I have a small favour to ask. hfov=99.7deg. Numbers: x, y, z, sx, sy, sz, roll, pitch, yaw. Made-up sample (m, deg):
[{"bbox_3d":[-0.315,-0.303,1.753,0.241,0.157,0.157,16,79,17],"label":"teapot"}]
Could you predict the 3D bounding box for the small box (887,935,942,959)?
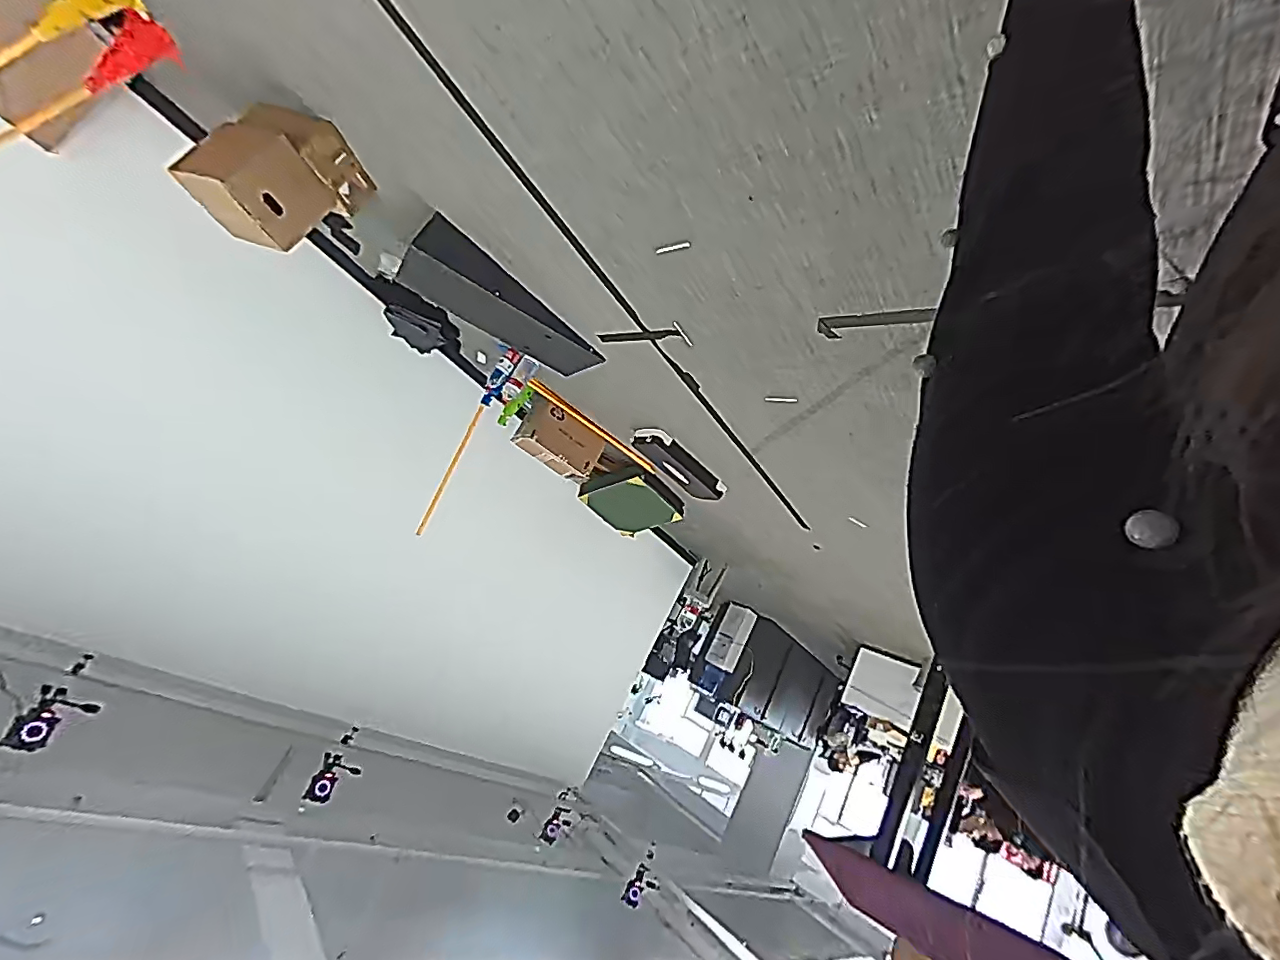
[{"bbox_3d":[0.715,1.292,1.357,0.179,0.176,0.168,13,158,44],"label":"small box"}]
